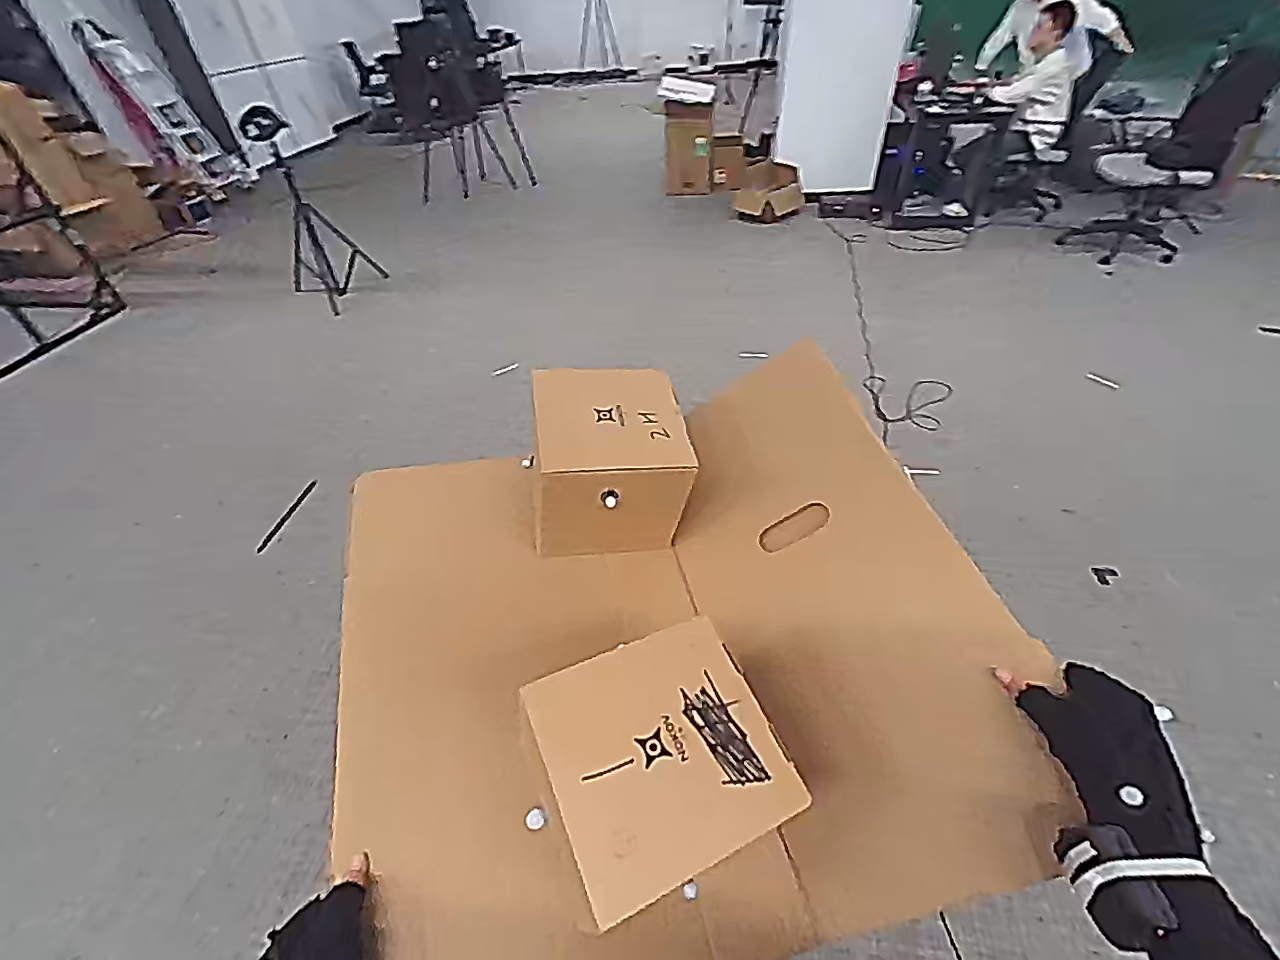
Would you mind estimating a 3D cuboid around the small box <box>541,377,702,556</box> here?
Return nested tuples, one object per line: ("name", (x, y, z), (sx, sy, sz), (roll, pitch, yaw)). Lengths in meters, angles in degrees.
("small box", (-0.037, -0.014, 0.698), (0.179, 0.176, 0.168), (-1, 51, -13))

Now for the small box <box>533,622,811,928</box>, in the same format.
("small box", (0.010, 0.258, 0.483), (0.179, 0.176, 0.168), (-15, 55, -22))
